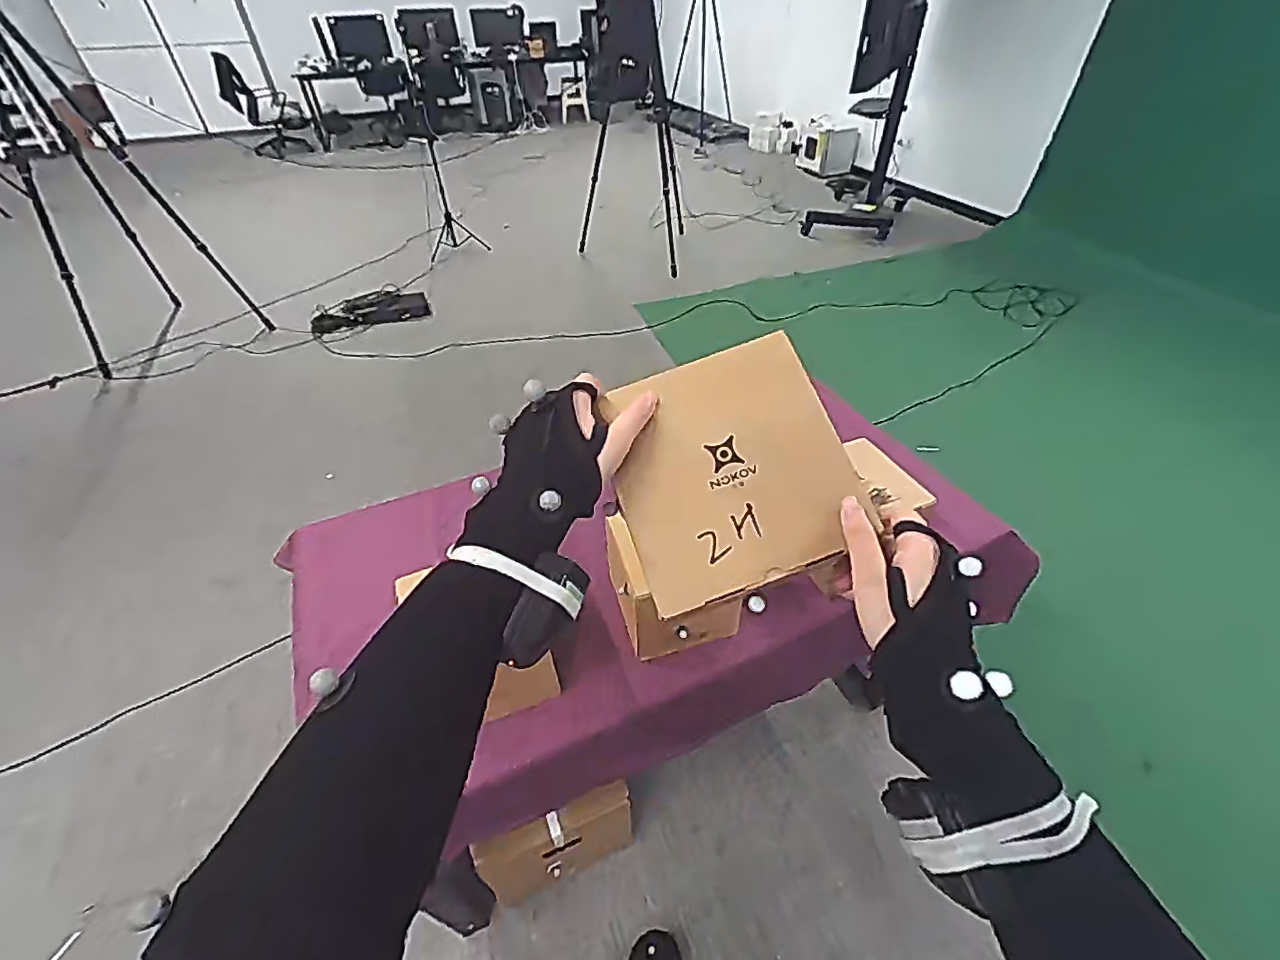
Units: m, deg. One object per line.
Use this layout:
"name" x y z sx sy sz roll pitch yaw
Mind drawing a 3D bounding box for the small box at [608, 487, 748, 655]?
"small box" 0.051 0.142 0.849 0.168 0.176 0.179 -13 45 -11

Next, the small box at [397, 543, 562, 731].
"small box" -0.224 0.224 0.768 0.179 0.176 0.168 -17 46 -14

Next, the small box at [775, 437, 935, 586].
"small box" 0.352 0.058 0.922 0.168 0.176 0.179 -16 44 -14
